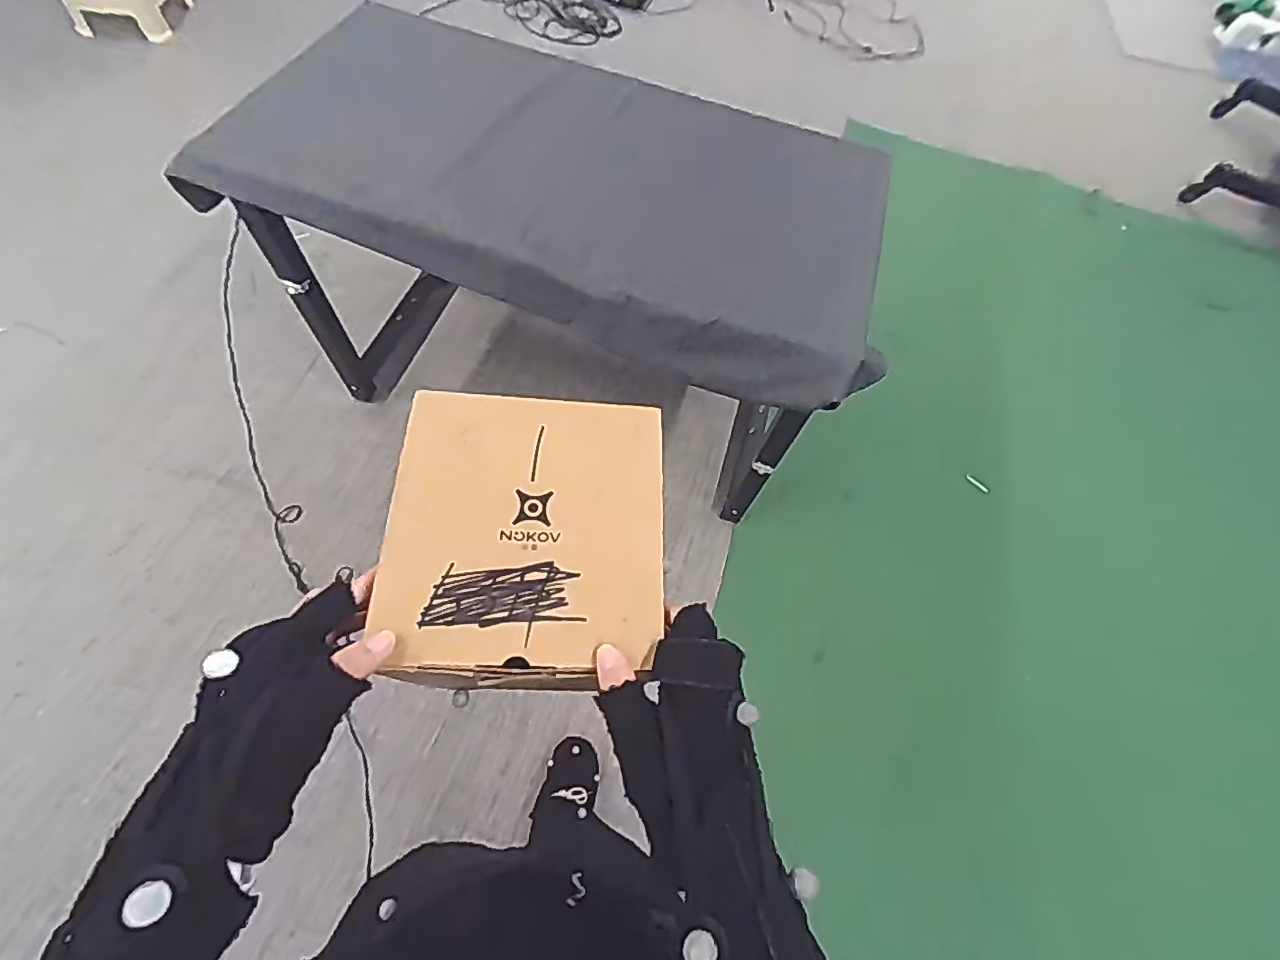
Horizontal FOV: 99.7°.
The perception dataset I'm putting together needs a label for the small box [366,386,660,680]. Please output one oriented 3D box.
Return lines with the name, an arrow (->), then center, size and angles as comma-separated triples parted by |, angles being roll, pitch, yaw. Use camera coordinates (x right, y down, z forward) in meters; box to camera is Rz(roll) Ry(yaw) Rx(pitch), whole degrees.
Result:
small box -> -0.077, 0.053, 0.407 | 0.168, 0.176, 0.179 | 3, 65, -6
